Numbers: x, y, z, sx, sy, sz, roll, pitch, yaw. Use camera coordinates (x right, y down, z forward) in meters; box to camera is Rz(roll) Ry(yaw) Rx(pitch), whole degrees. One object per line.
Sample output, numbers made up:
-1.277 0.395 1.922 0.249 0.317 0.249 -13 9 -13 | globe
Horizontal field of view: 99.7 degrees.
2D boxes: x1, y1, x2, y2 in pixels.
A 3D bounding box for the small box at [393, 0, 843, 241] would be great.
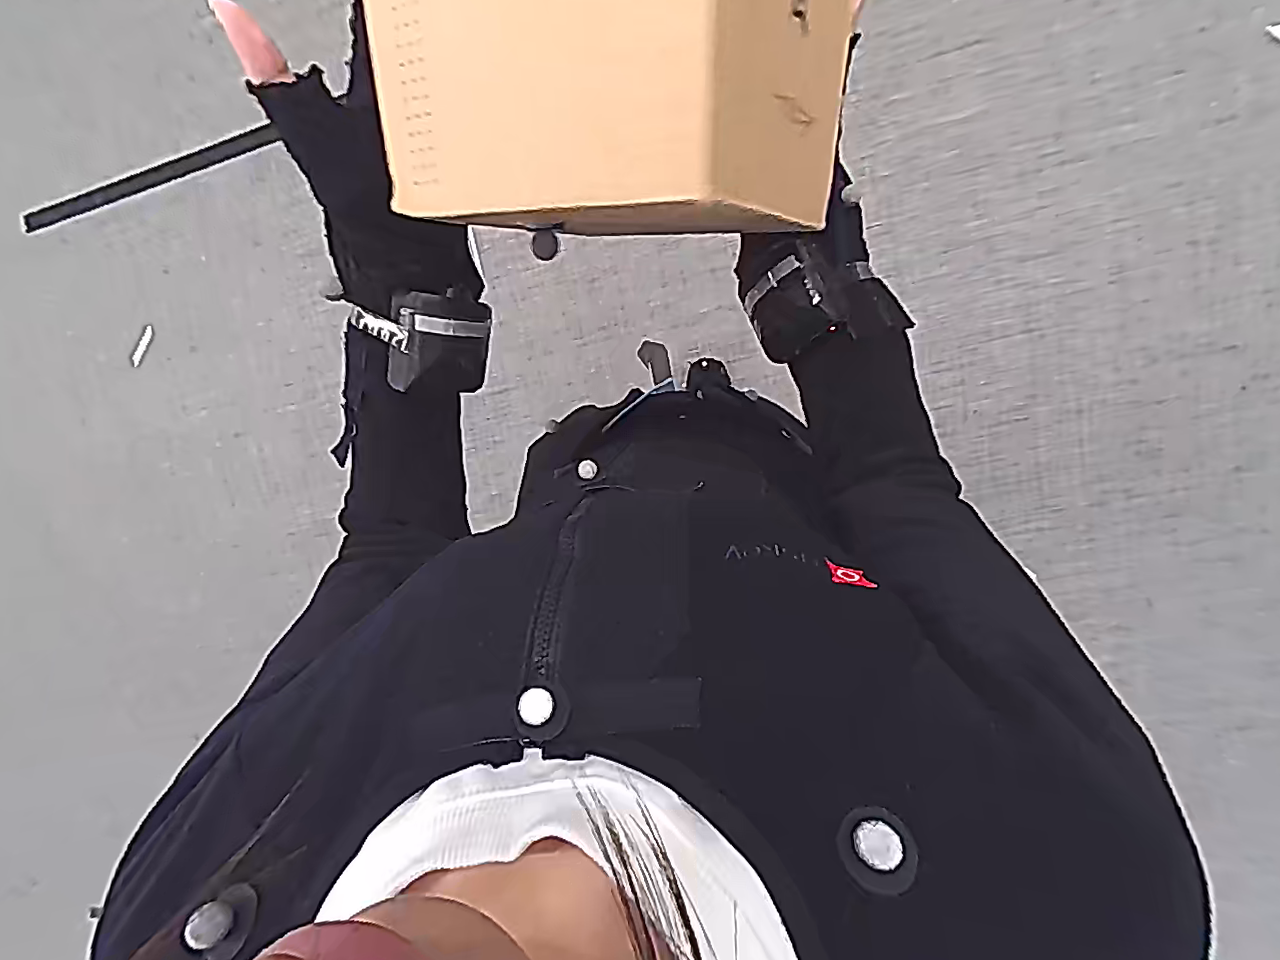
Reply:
-0.004 -0.221 0.268 0.176 0.168 0.179 11 113 27 | small box
